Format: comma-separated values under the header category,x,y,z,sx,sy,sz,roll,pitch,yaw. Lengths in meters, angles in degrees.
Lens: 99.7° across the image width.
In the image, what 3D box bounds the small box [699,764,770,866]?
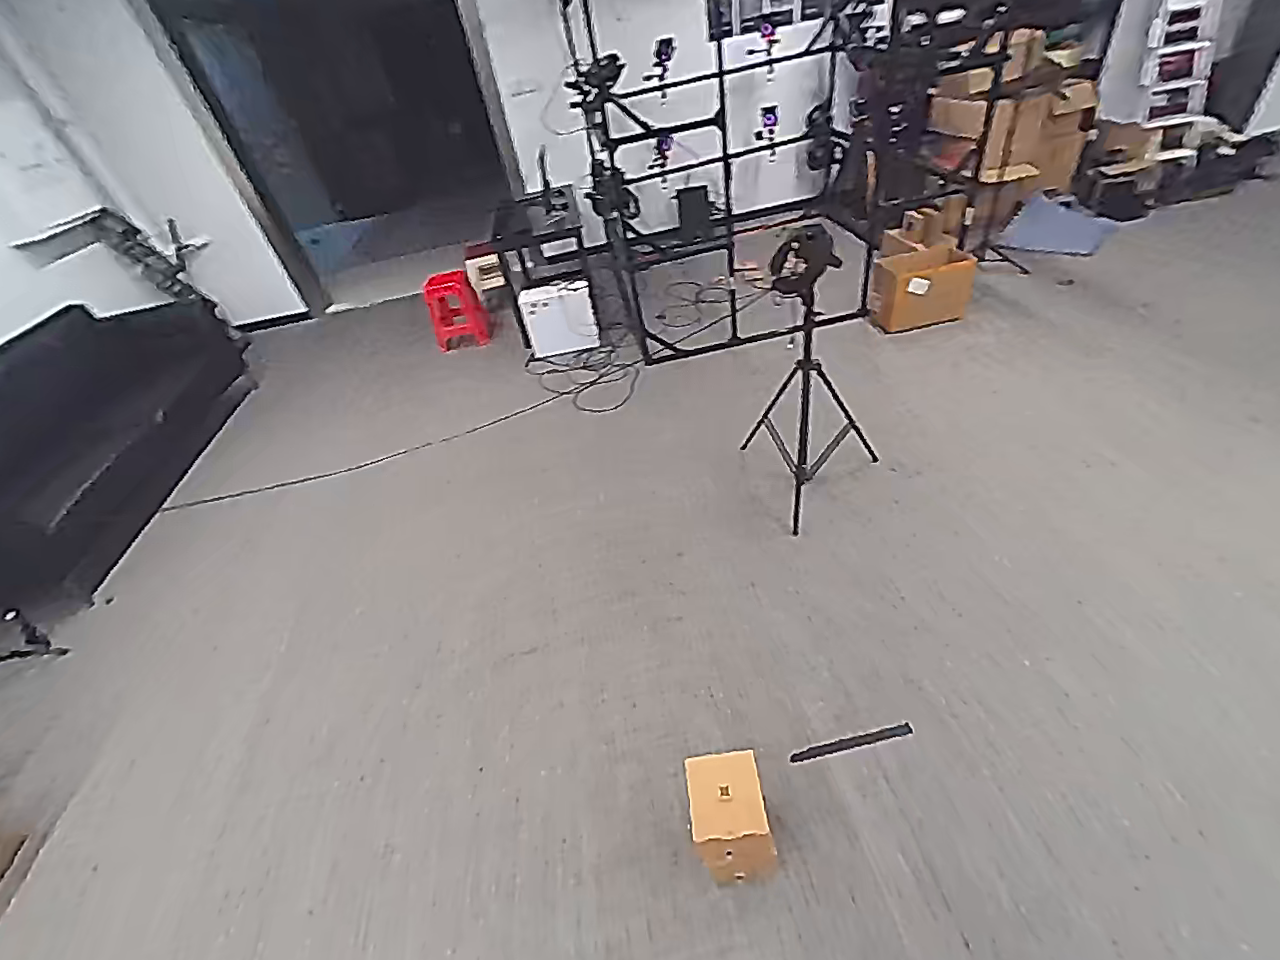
category,x,y,z,sx,sy,sz,roll,pitch,yaw
small box,0.219,0.824,1.345,0.168,0.176,0.179,-12,40,2

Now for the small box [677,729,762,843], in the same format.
category,x,y,z,sx,sy,sz,roll,pitch,yaw
small box,0.181,0.704,1.243,0.168,0.176,0.179,-10,41,4
